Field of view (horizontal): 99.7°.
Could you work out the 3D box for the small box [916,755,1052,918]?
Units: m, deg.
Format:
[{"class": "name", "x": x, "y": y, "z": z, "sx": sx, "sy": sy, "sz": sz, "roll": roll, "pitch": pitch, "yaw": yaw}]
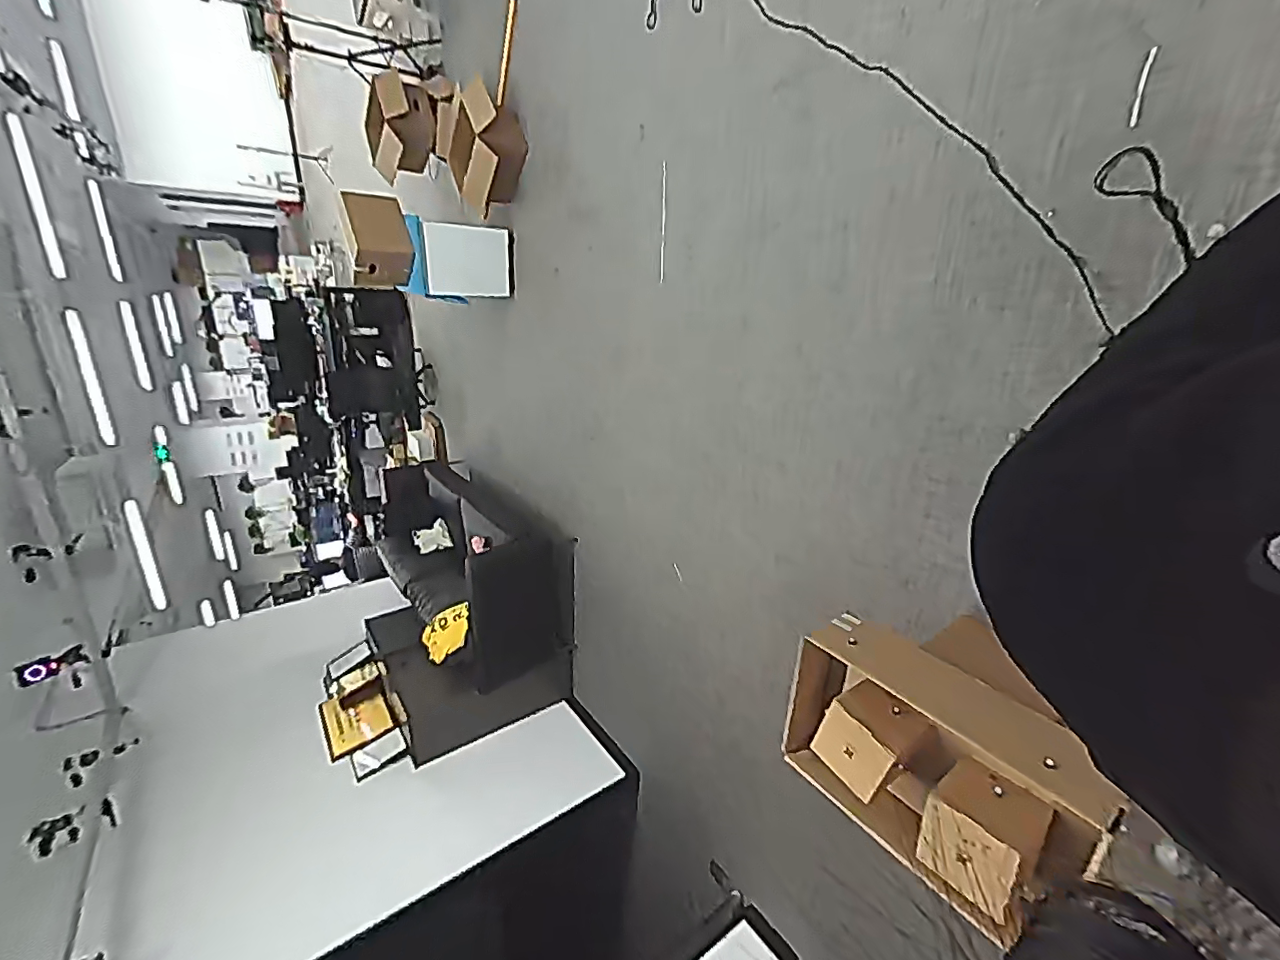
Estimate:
[{"class": "small box", "x": 0.689, "y": 0.703, "z": 1.084, "sx": 0.168, "sy": 0.176, "sz": 0.179, "roll": 23, "pitch": 118, "yaw": 50}]
